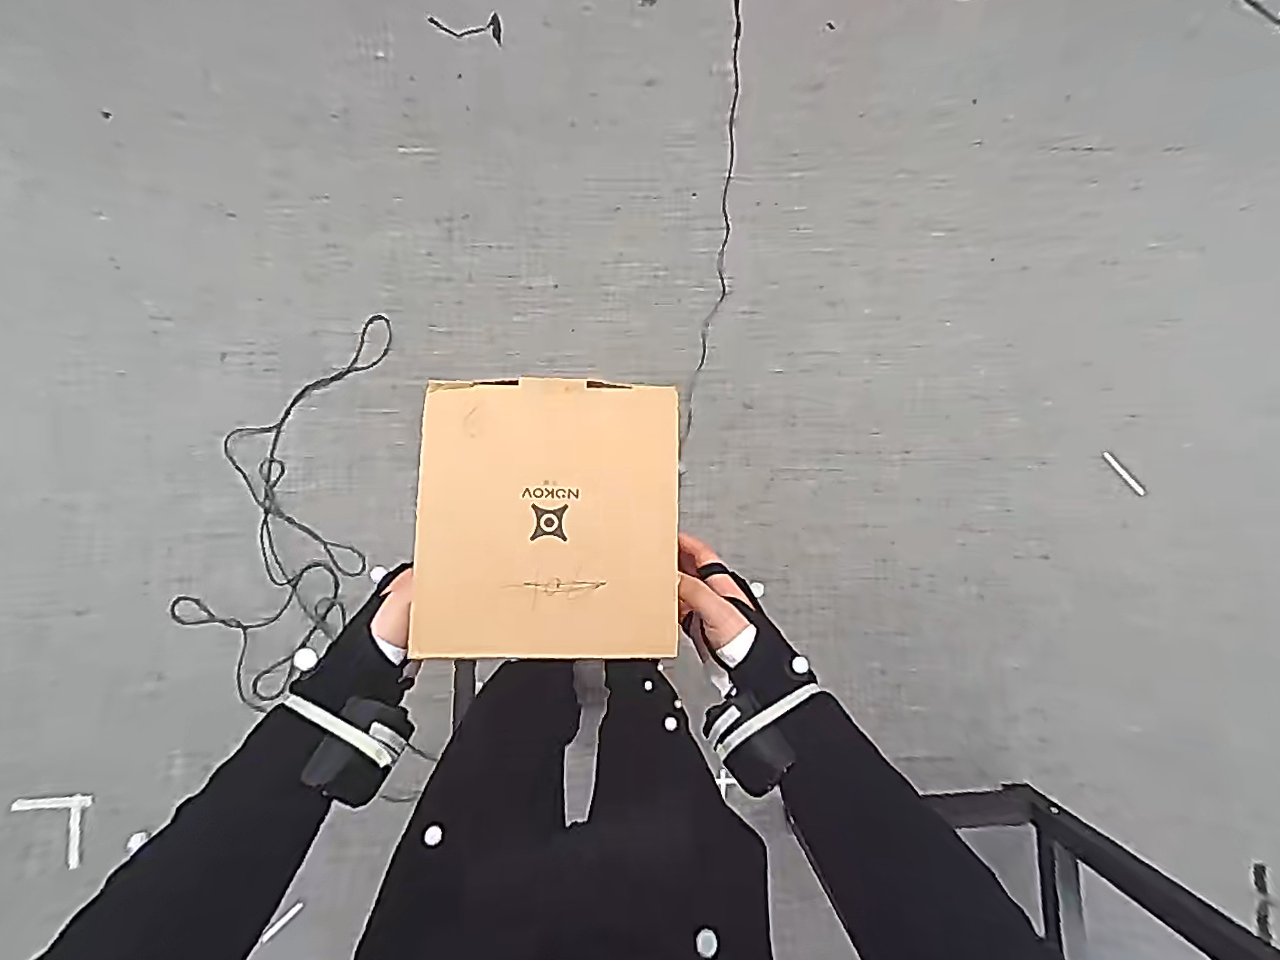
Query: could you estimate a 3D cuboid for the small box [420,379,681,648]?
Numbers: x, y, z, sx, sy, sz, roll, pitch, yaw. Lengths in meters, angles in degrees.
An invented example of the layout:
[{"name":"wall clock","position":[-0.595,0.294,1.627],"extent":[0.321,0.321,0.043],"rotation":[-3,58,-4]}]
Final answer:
[{"name":"small box","position":[-0.060,0.030,0.430],"extent":[0.168,0.176,0.179],"rotation":[0,83,-3]}]
